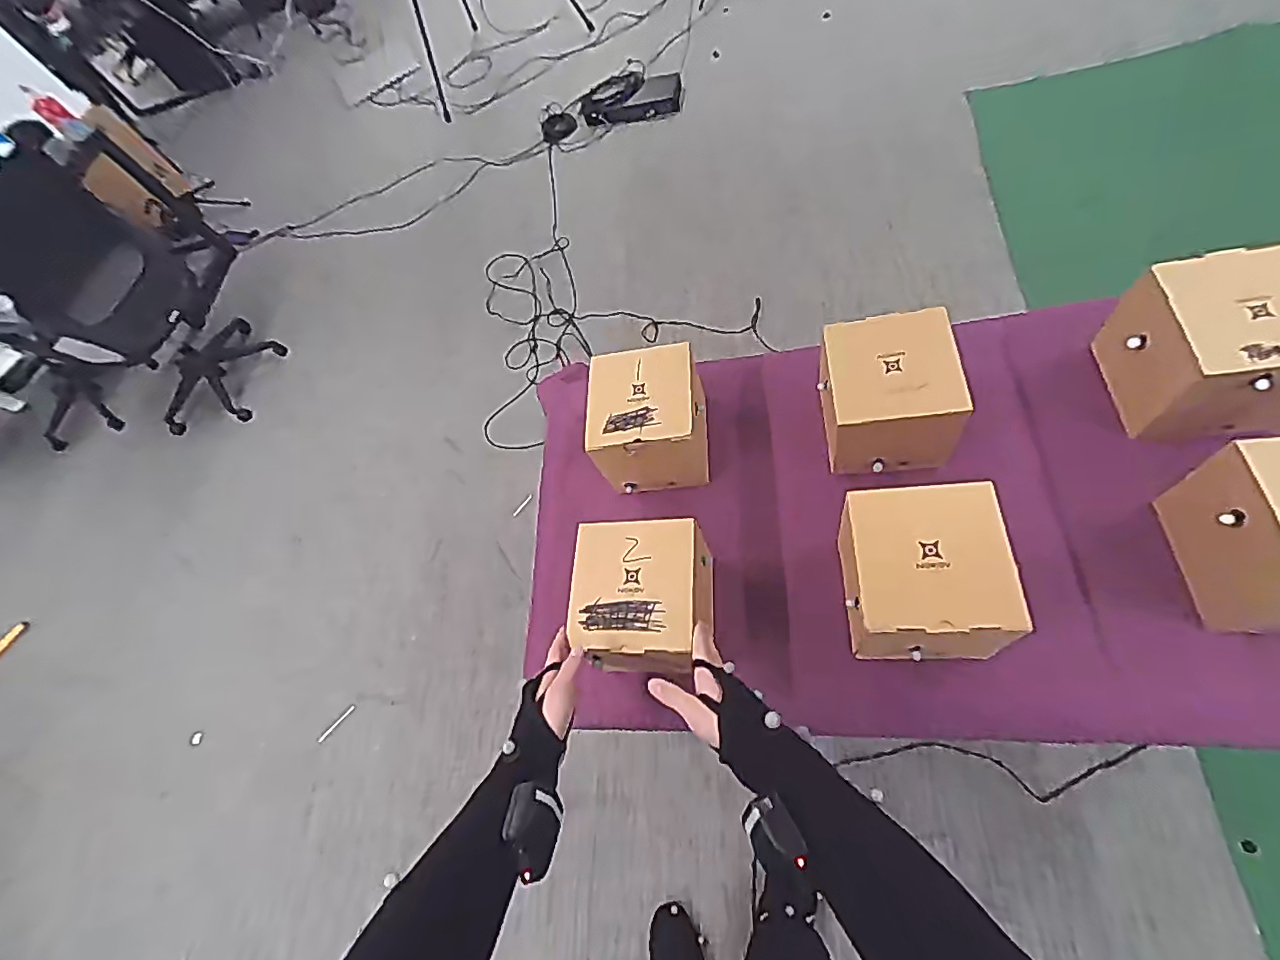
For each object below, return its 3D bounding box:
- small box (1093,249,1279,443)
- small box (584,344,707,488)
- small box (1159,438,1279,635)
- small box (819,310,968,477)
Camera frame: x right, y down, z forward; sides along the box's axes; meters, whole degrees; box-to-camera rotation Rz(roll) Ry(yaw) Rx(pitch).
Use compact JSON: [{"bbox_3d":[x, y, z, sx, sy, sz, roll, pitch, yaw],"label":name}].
[{"bbox_3d":[0.751,-0.169,0.714,0.168,0.176,0.179,-6,63,15],"label":"small box"},{"bbox_3d":[0.017,-0.095,0.898,0.168,0.176,0.179,-6,63,13],"label":"small box"},{"bbox_3d":[0.737,0.065,0.598,0.168,0.176,0.179,-4,62,16],"label":"small box"},{"bbox_3d":[0.363,-0.122,0.811,0.168,0.176,0.179,-5,64,15],"label":"small box"}]
